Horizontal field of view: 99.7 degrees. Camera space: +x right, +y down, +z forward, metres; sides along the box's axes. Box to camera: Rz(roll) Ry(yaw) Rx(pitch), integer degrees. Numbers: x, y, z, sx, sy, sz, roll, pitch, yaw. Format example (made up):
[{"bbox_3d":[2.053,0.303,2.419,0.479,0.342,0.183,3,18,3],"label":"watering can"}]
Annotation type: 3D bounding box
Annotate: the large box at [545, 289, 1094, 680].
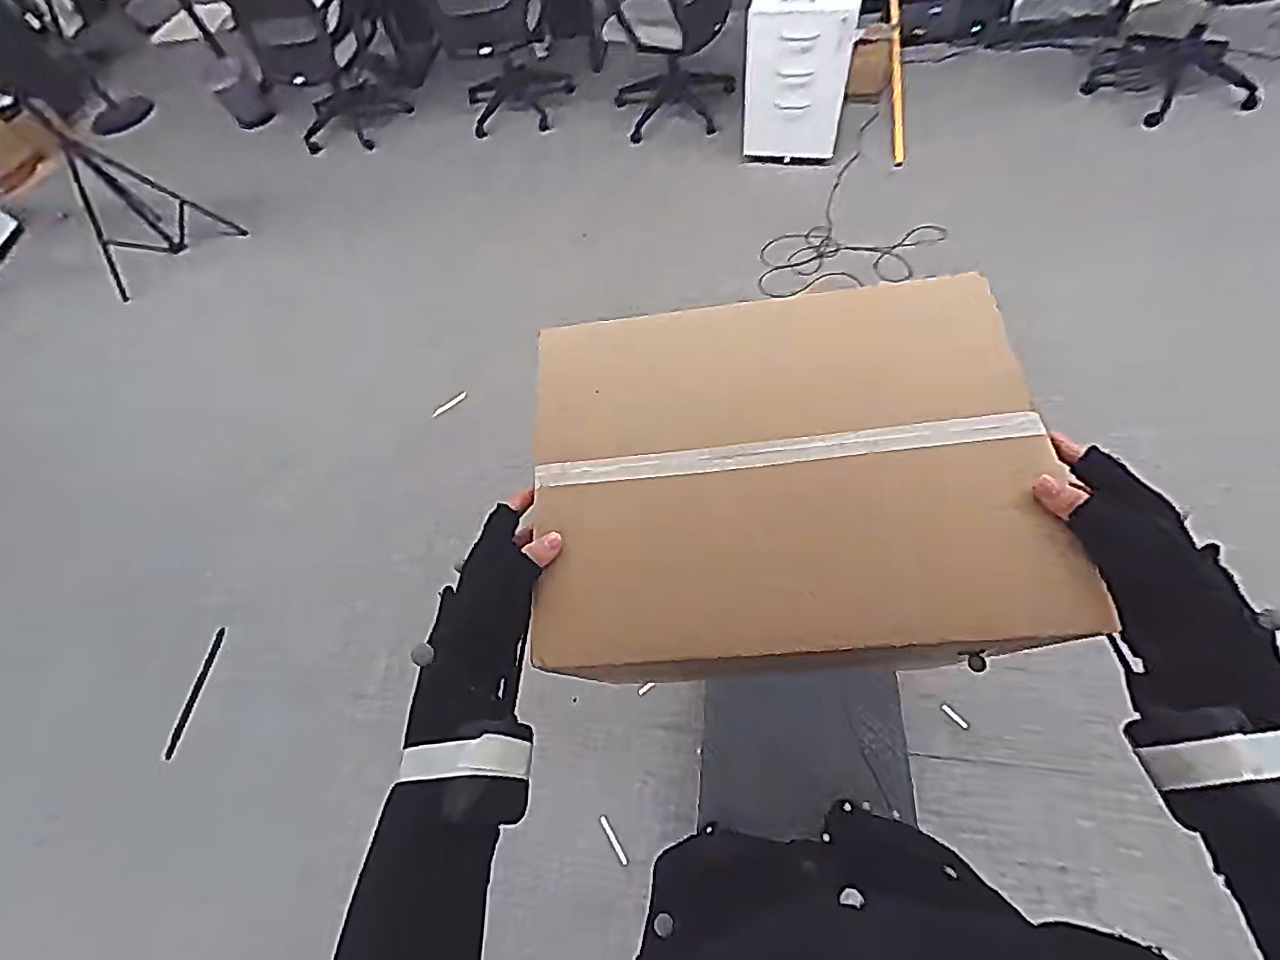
[{"bbox_3d":[0.136,0.041,0.588,0.408,0.320,0.320,-5,66,6],"label":"large box"}]
